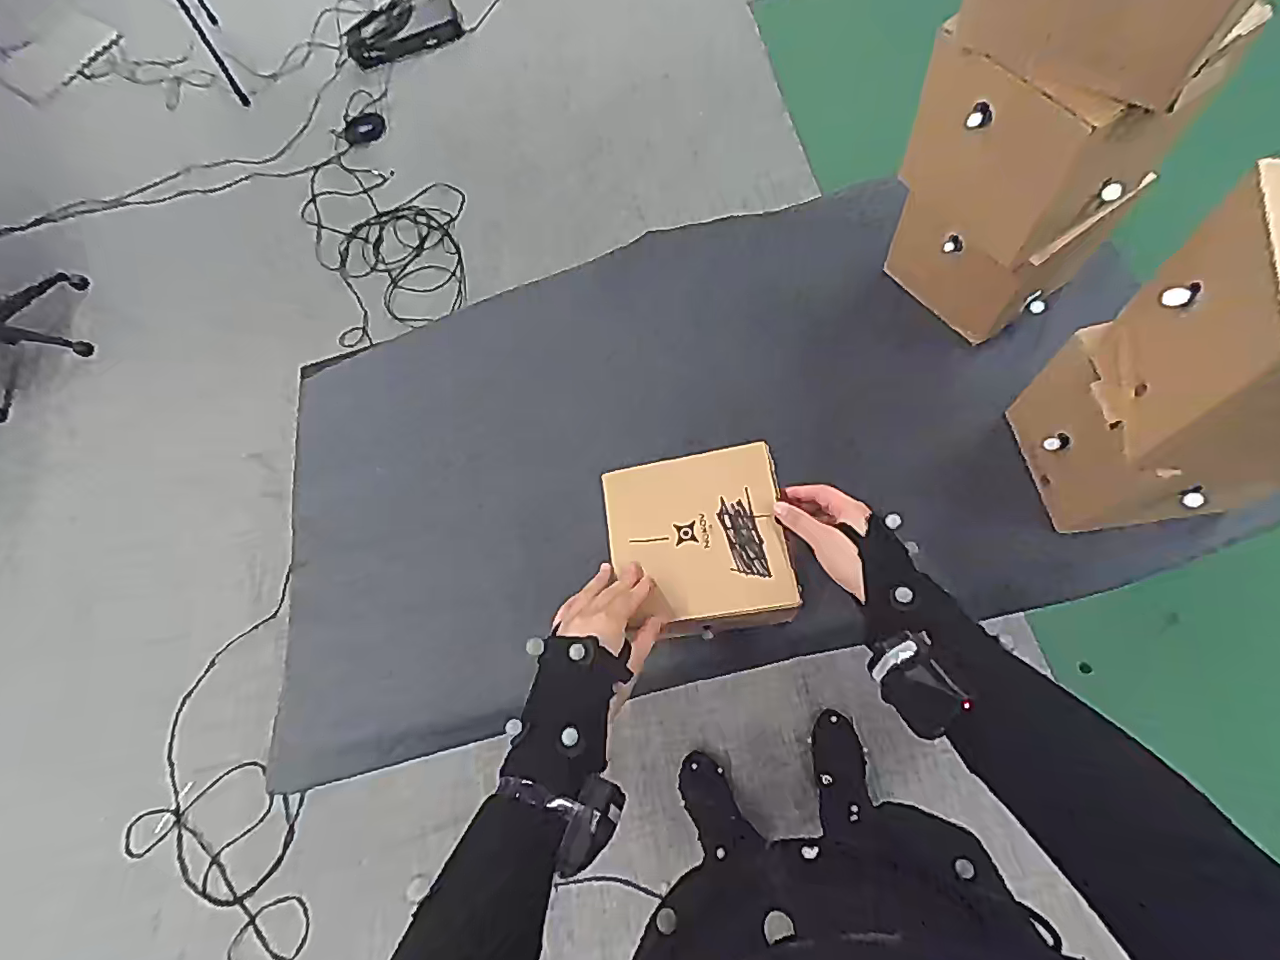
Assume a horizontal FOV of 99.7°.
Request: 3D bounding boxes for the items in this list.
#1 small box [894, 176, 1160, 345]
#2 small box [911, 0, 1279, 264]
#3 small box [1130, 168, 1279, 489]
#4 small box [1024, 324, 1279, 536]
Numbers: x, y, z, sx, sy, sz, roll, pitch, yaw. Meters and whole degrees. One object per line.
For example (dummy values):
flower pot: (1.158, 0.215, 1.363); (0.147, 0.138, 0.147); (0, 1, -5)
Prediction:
small box: (0.450, -0.304, 0.670); (0.168, 0.176, 0.179); (-37, 69, 0)
small box: (0.397, -0.350, 0.519); (0.168, 0.176, 0.179); (-33, 68, 2)
small box: (0.511, -0.099, 0.402); (0.179, 0.176, 0.168); (11, 70, 15)
small box: (0.536, -0.050, 0.556); (0.179, 0.176, 0.168); (-10, 66, 9)
